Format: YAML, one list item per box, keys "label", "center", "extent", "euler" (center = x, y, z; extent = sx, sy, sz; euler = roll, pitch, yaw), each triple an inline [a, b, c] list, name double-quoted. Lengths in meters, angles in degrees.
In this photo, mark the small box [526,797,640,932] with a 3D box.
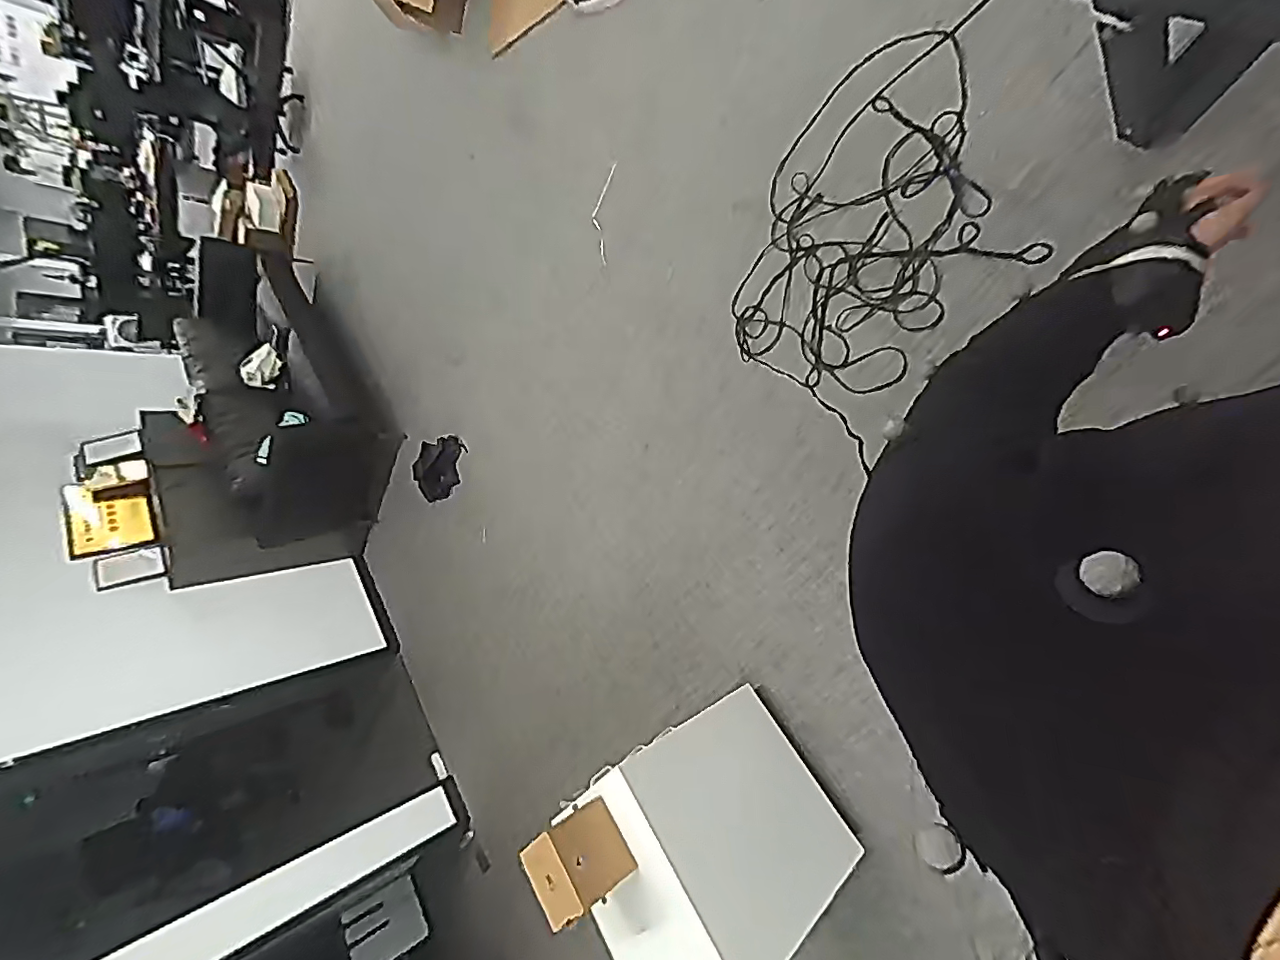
- label: "small box"
  center: [-0.130, 0.883, 1.255]
  extent: [0.179, 0.176, 0.168]
  euler: [53, 126, 27]
